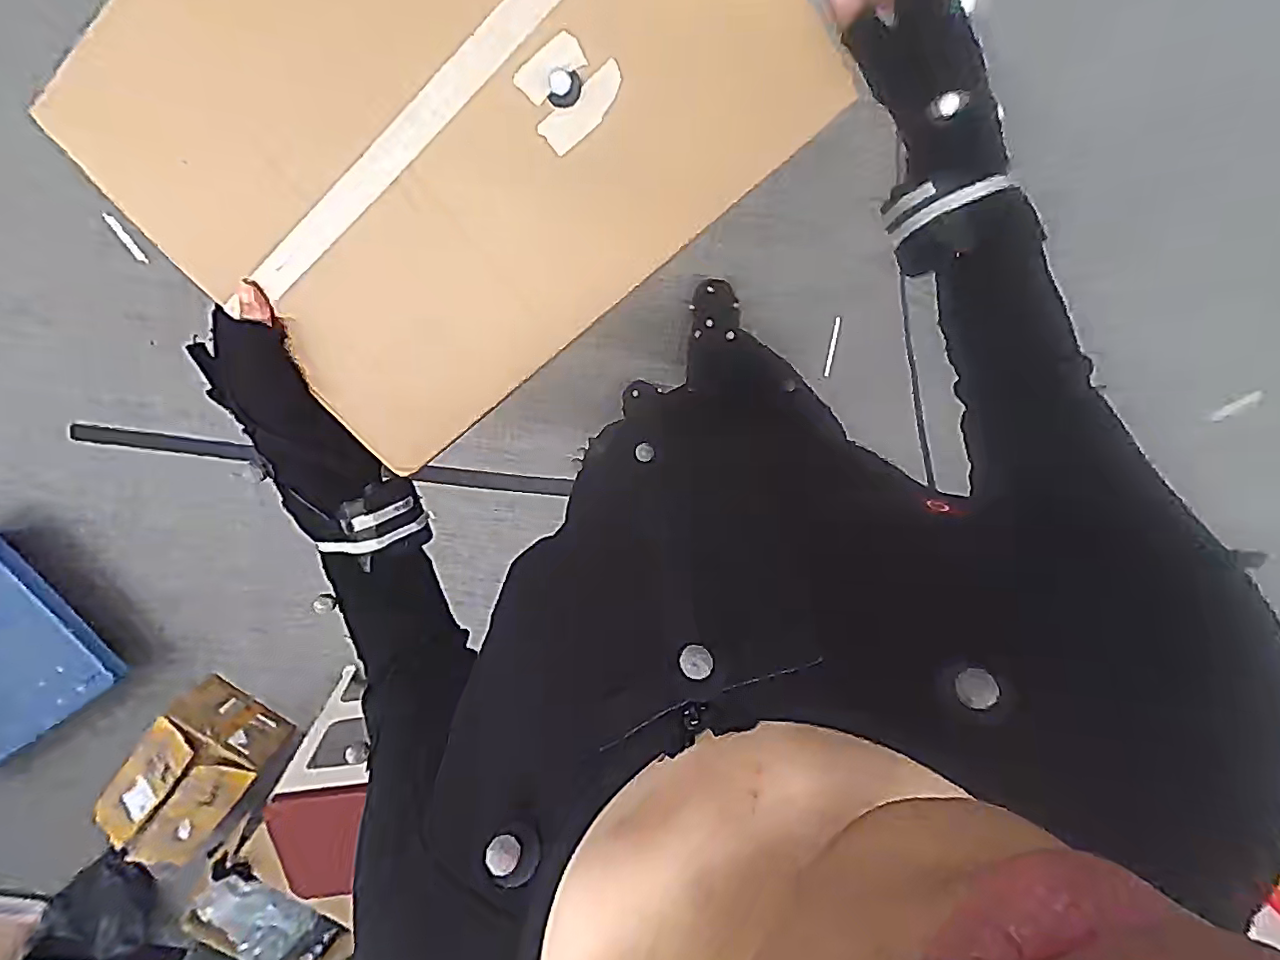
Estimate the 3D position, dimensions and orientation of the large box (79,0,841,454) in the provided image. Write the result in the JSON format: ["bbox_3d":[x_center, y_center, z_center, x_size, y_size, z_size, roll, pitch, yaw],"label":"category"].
[{"bbox_3d":[-0.117,-0.294,0.482,0.408,0.320,0.320,-37,106,13],"label":"large box"}]
